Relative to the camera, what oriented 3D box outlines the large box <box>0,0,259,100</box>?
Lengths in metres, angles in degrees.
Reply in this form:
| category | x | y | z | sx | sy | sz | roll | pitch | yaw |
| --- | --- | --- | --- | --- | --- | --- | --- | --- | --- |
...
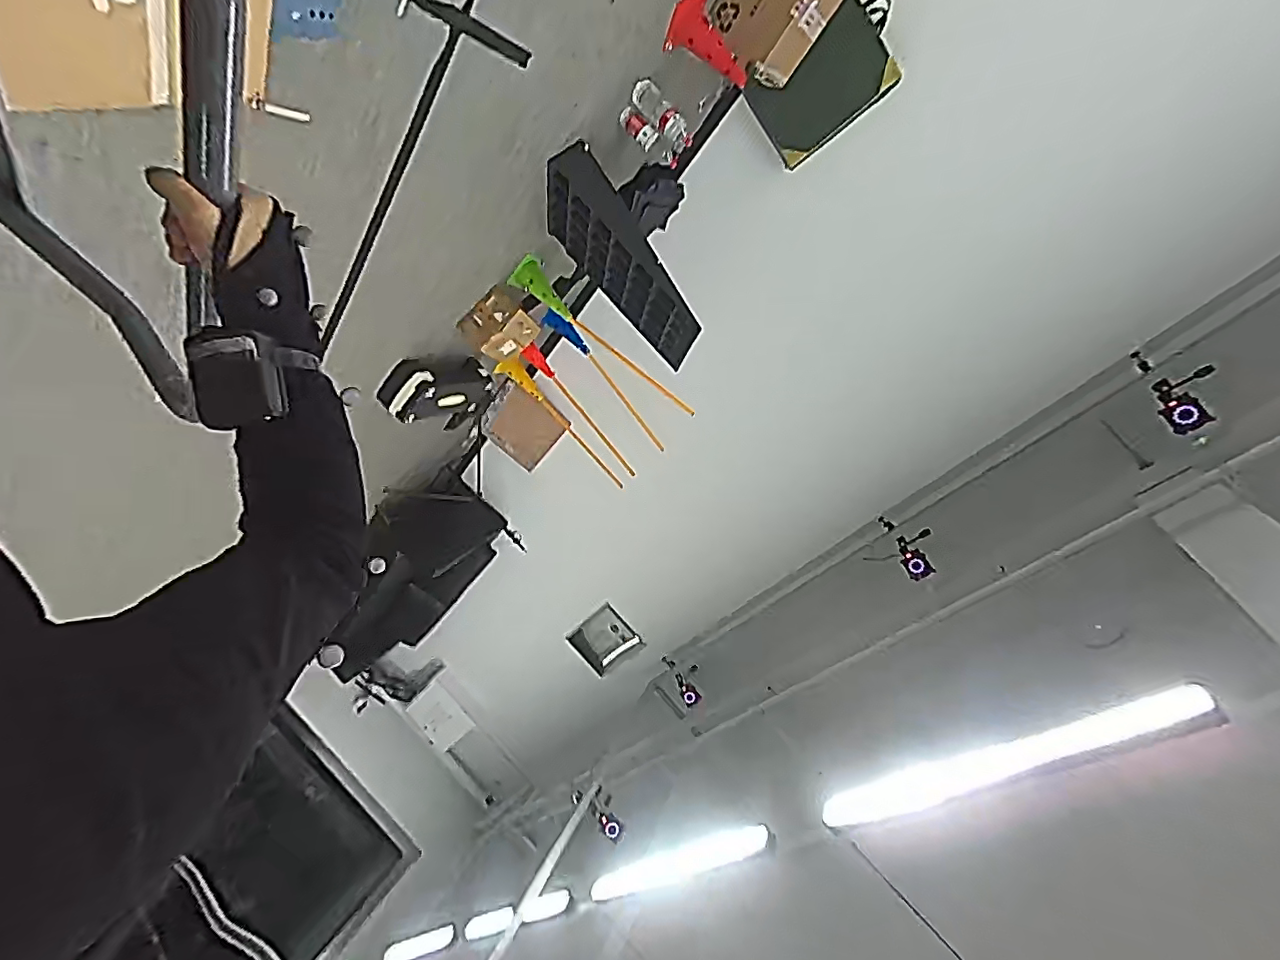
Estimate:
| category | x | y | z | sx | sy | sz | roll | pitch | yaw |
| --- | --- | --- | --- | --- | --- | --- | --- | --- | --- |
| large box | -0.613 | -0.671 | 0.510 | 0.408 | 0.320 | 0.320 | -42 | -170 | 41 |
